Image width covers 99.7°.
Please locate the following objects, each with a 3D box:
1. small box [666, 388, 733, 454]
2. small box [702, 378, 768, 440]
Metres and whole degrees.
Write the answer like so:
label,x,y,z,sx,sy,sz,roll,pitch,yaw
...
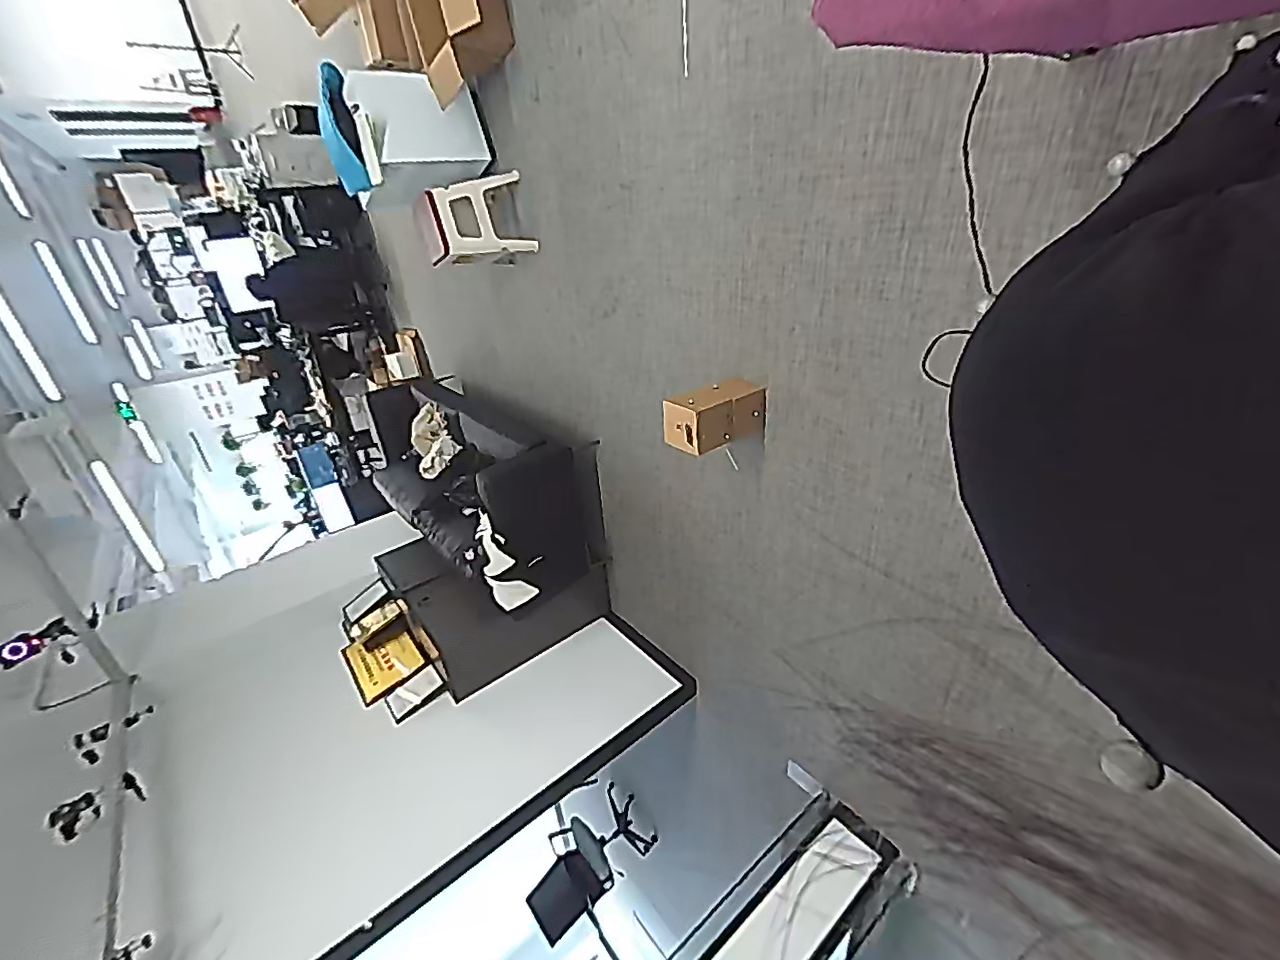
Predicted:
label,x,y,z,sx,sy,sz,roll,pitch,yaw
small box,0.215,-0.214,1.911,0.179,0.176,0.168,28,132,46
small box,0.346,-0.269,1.993,0.179,0.176,0.168,28,133,44
